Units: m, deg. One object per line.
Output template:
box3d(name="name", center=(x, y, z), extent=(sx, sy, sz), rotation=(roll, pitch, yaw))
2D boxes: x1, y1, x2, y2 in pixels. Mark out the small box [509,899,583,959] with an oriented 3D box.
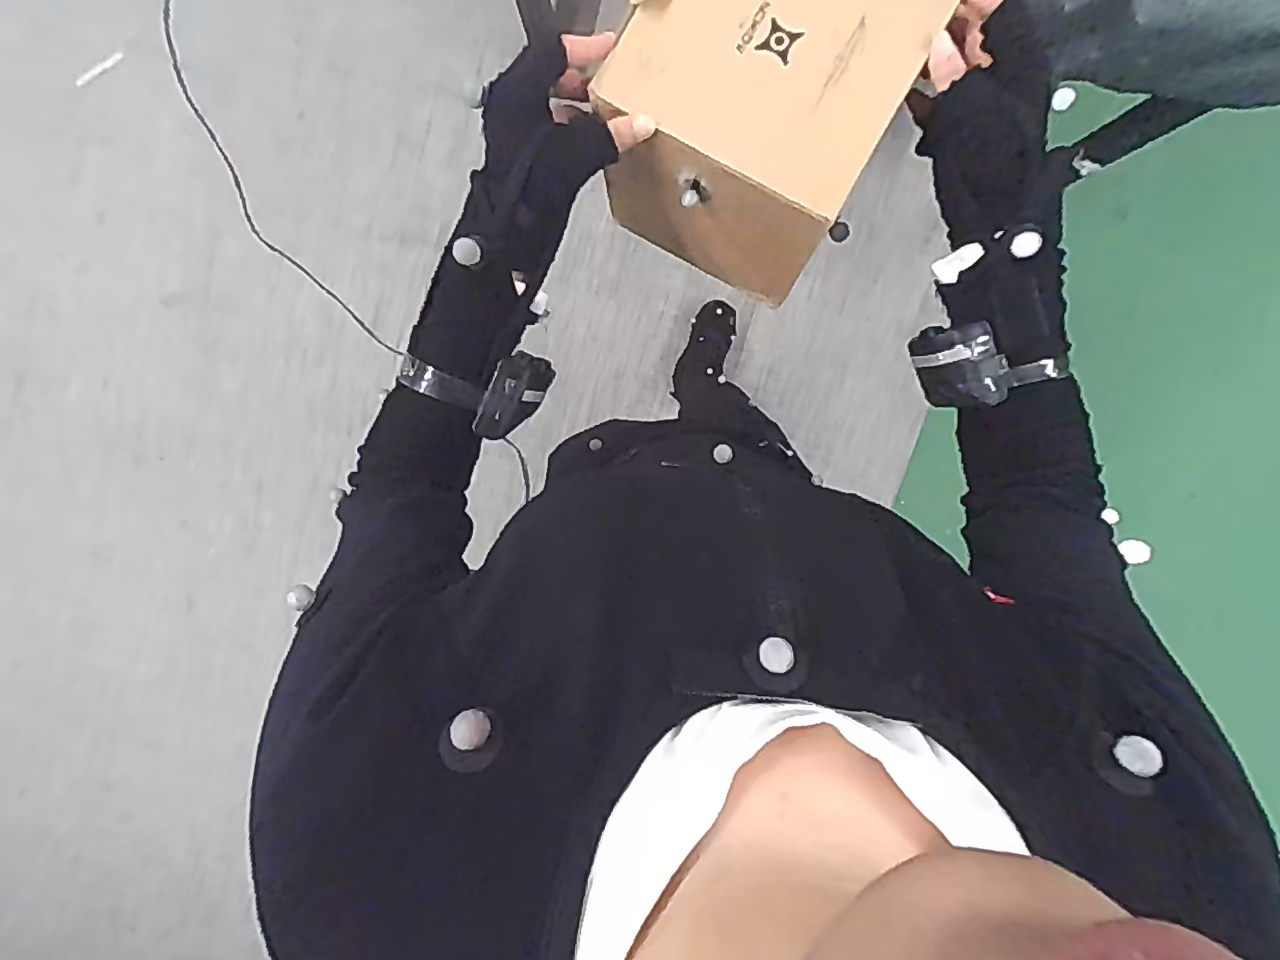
box3d(name="small box", center=(-0.263, 1.315, 1.503), extent=(0.179, 0.176, 0.168), rotation=(8, 99, 0))
